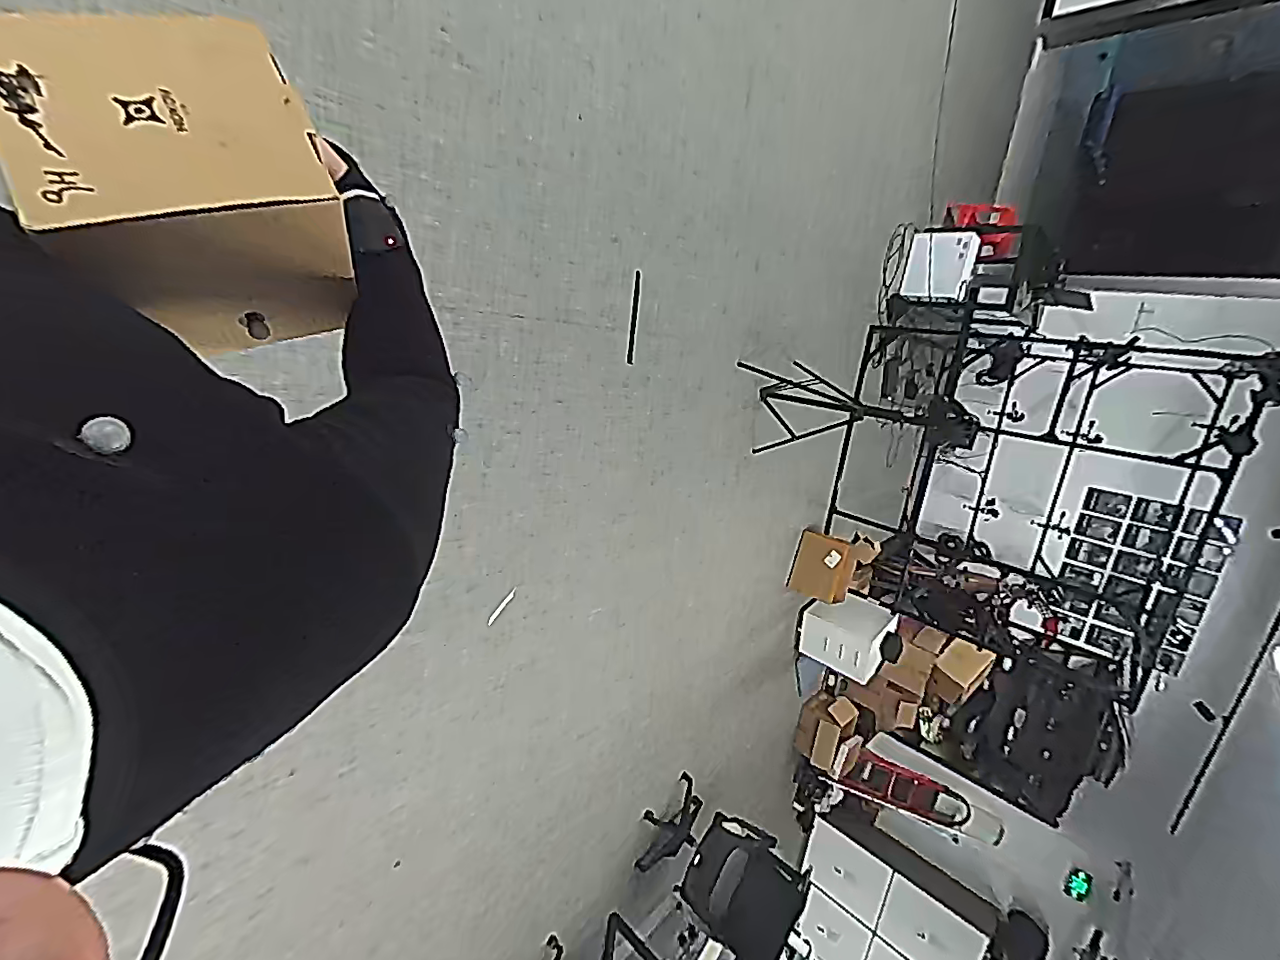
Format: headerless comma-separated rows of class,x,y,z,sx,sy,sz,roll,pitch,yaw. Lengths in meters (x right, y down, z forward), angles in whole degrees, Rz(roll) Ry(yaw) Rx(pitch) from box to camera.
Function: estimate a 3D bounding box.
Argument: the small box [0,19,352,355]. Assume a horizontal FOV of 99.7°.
small box,-0.360,-0.230,0.452,0.179,0.176,0.168,-24,82,-27
